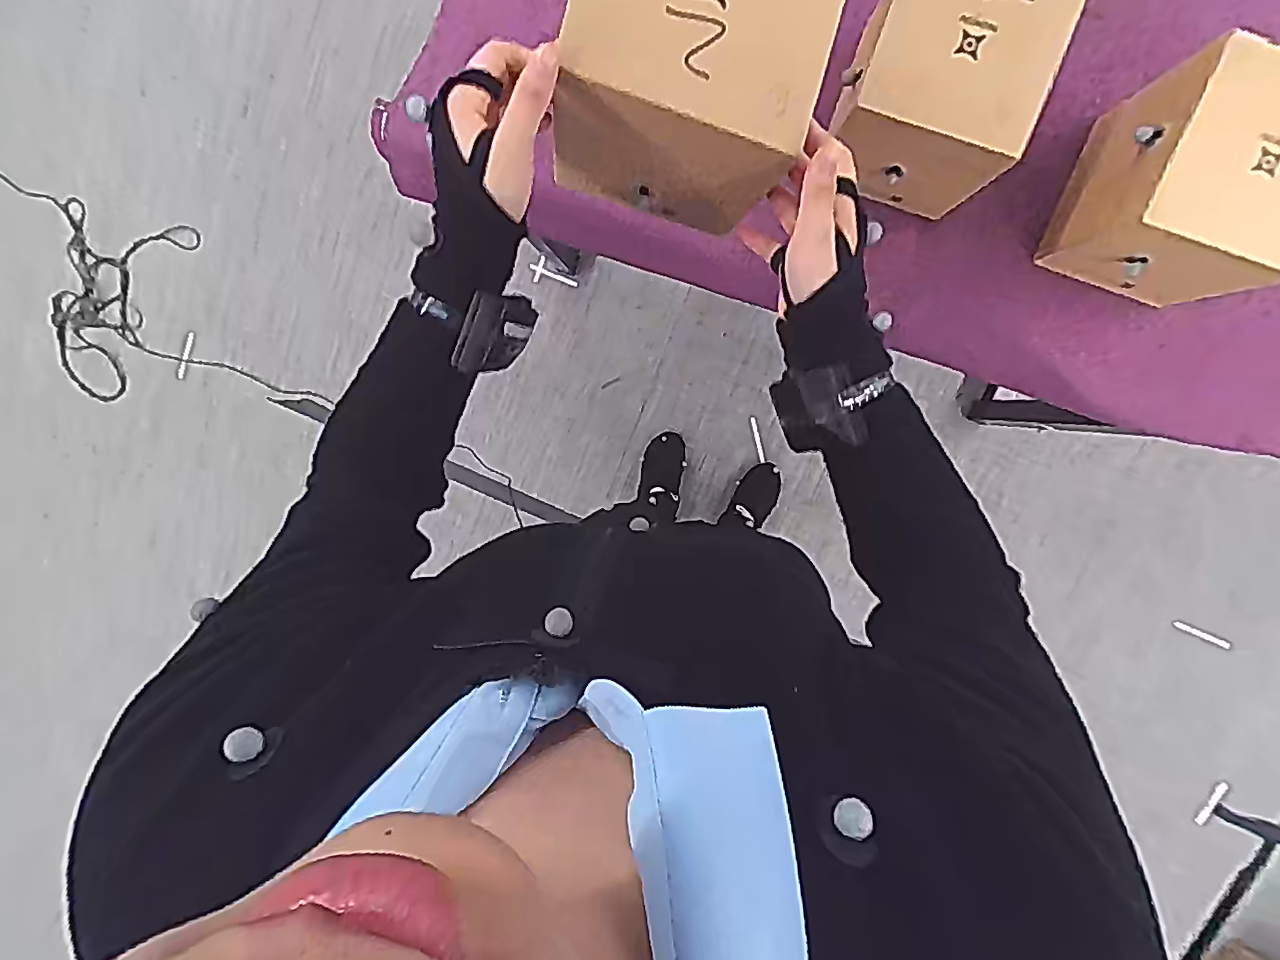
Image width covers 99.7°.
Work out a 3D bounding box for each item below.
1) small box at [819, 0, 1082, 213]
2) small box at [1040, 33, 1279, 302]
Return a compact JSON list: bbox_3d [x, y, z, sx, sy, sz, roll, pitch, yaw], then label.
[{"bbox_3d":[0.313,-0.421,0.584,0.168,0.176,0.179,19,98,0],"label":"small box"},{"bbox_3d":[0.582,-0.309,0.580,0.168,0.176,0.179,20,99,1],"label":"small box"}]
